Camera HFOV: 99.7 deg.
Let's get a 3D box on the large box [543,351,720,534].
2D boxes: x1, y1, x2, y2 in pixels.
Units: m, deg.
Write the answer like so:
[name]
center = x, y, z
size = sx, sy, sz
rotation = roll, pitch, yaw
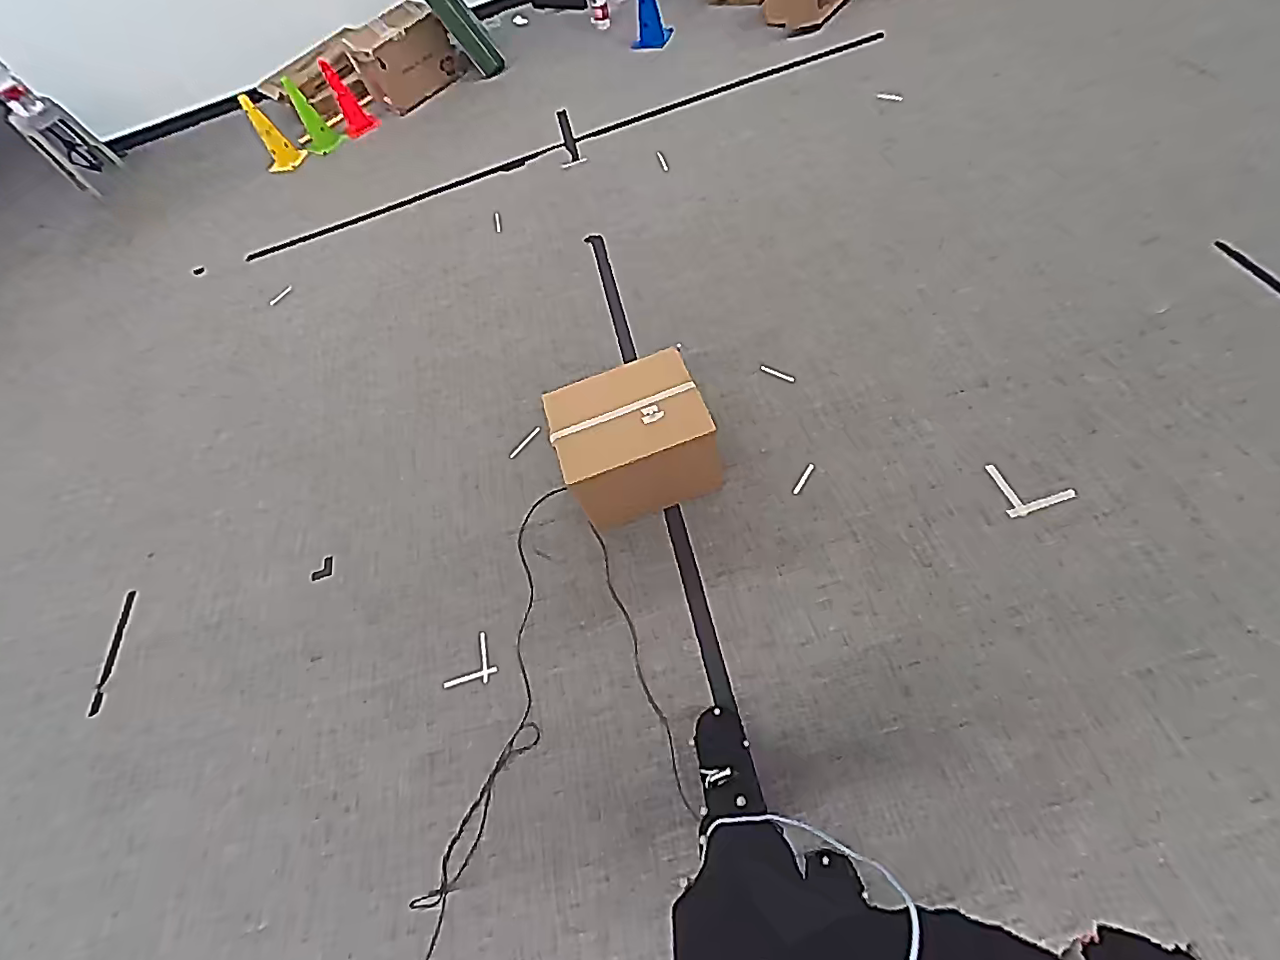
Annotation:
[large box]
center = -0.017, -0.098, 1.551
size = 0.408, 0.320, 0.320
rotation = -20, 59, 0
